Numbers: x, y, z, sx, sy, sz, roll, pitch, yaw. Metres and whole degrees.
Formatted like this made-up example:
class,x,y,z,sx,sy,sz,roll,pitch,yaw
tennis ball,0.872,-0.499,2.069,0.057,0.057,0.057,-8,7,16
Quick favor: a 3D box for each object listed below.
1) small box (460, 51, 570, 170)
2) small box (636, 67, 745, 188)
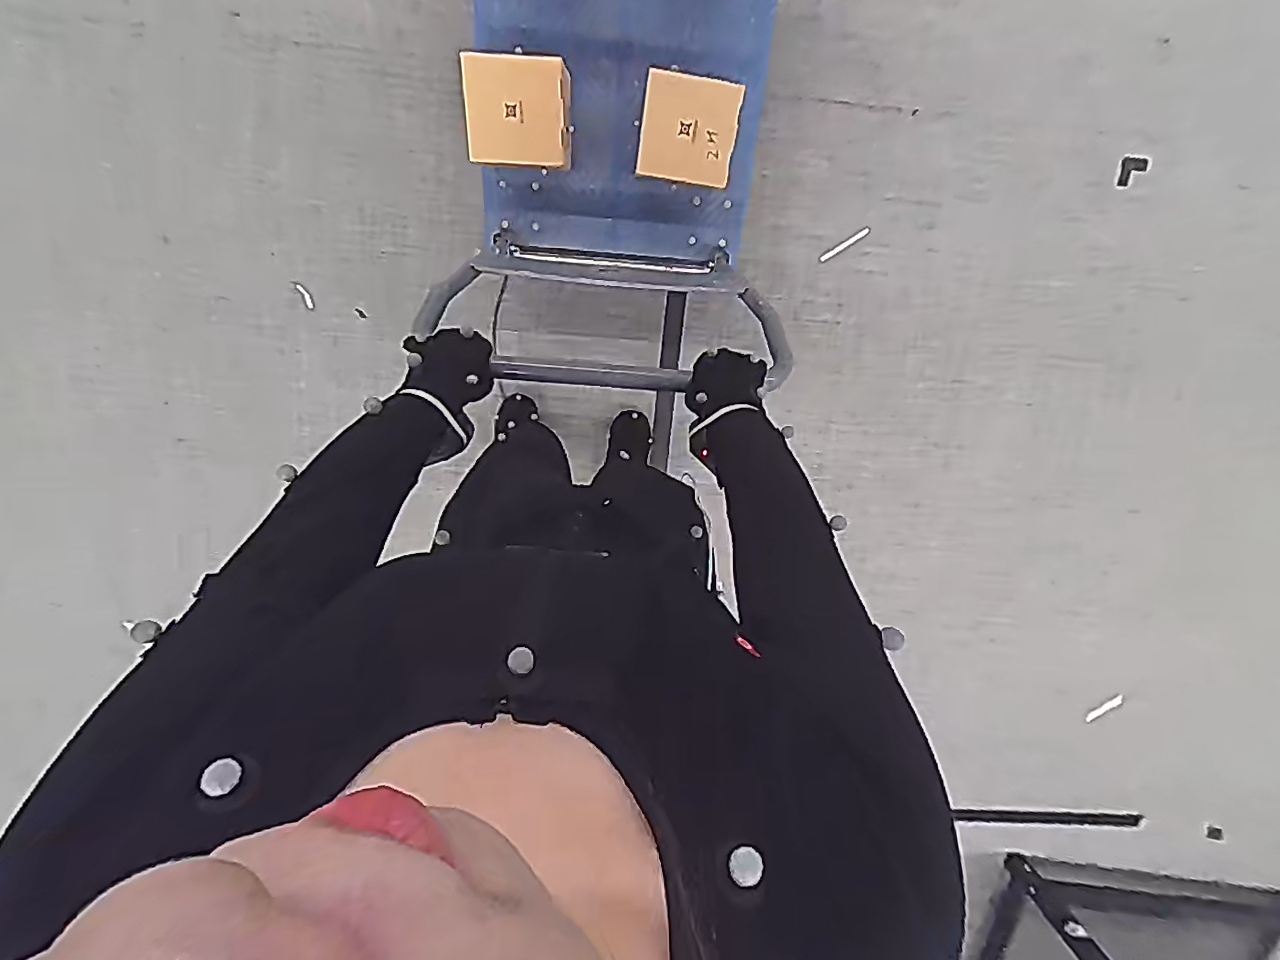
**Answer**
class,x,y,z,sx,sy,sz,roll,pitch,yaw
small box,-0.228,-0.695,1.035,0.179,0.176,0.168,0,117,-4
small box,0.088,-0.674,1.055,0.179,0.176,0.168,7,117,-5
